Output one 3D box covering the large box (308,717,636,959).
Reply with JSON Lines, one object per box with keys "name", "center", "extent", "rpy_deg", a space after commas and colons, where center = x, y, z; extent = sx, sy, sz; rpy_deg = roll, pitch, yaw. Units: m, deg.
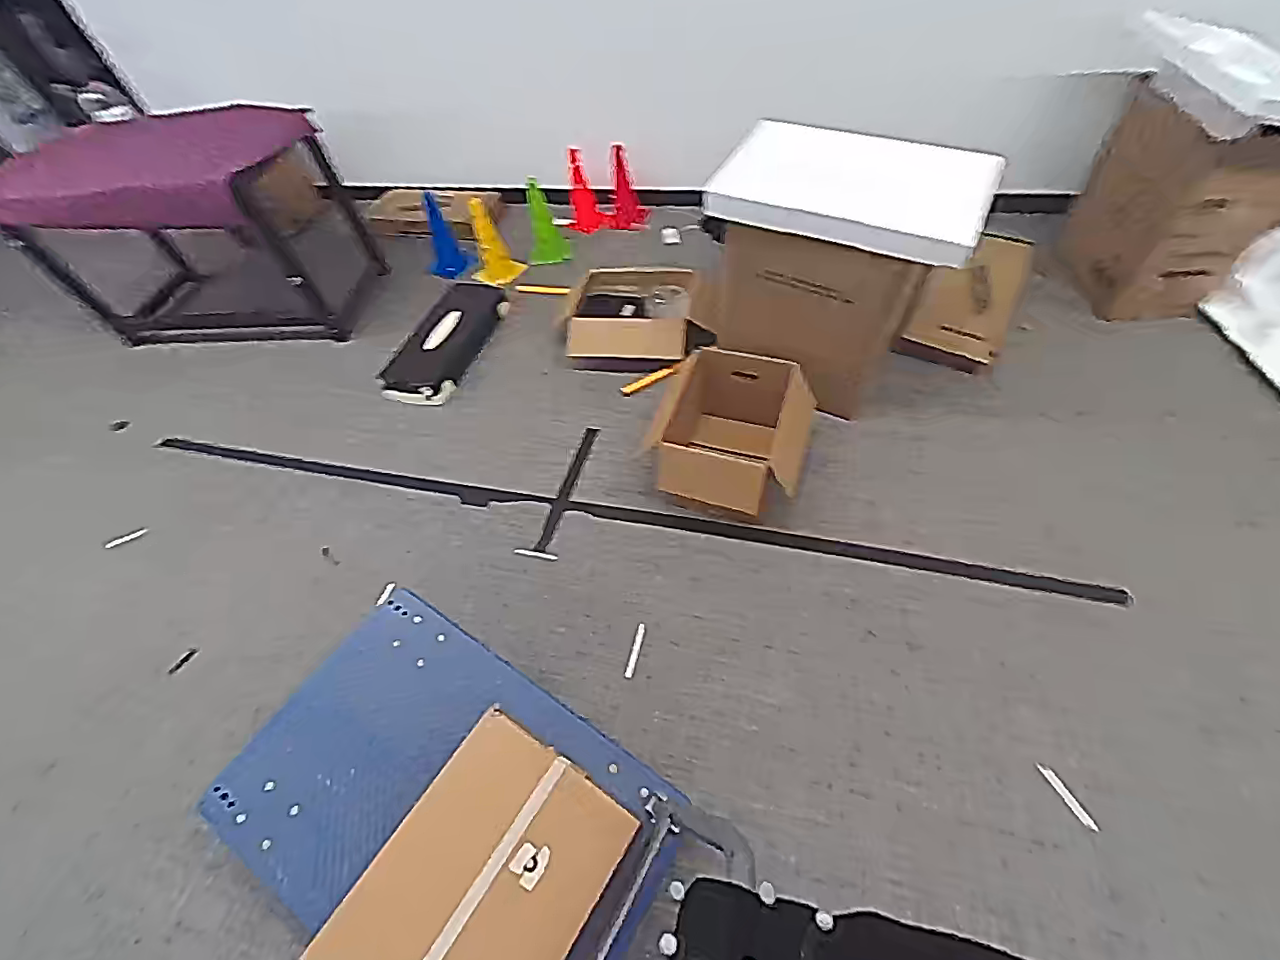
{"name": "large box", "center": [-0.238, 0.691, 0.906], "extent": [0.320, 0.320, 0.408], "rpy_deg": [30, 62, 16]}
